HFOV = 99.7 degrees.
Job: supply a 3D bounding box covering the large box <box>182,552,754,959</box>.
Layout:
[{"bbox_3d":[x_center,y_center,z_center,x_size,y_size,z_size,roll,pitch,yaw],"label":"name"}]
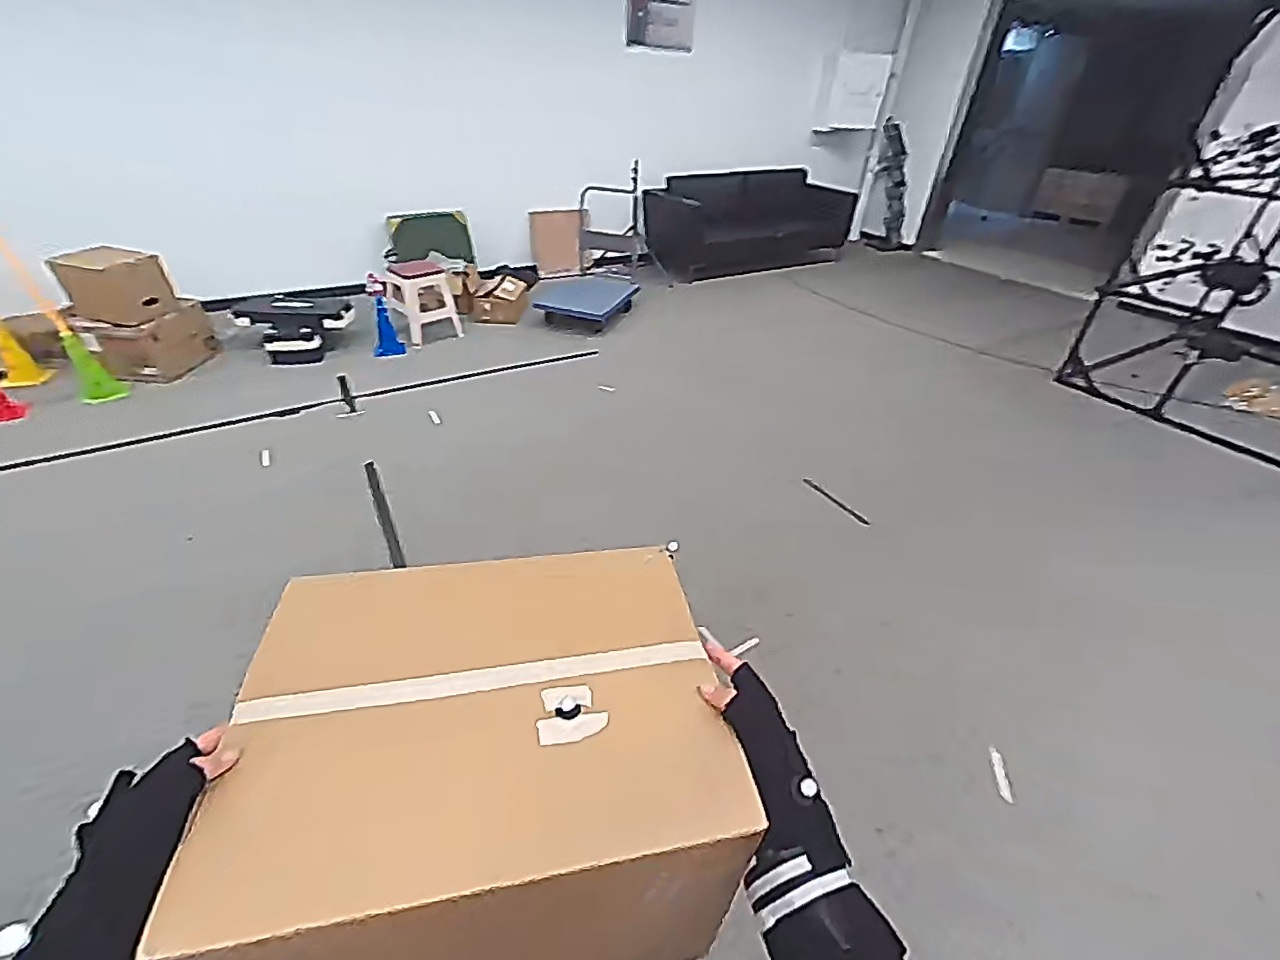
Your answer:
[{"bbox_3d":[-0.144,0.310,0.585,0.408,0.320,0.320,-3,36,-12],"label":"large box"}]
